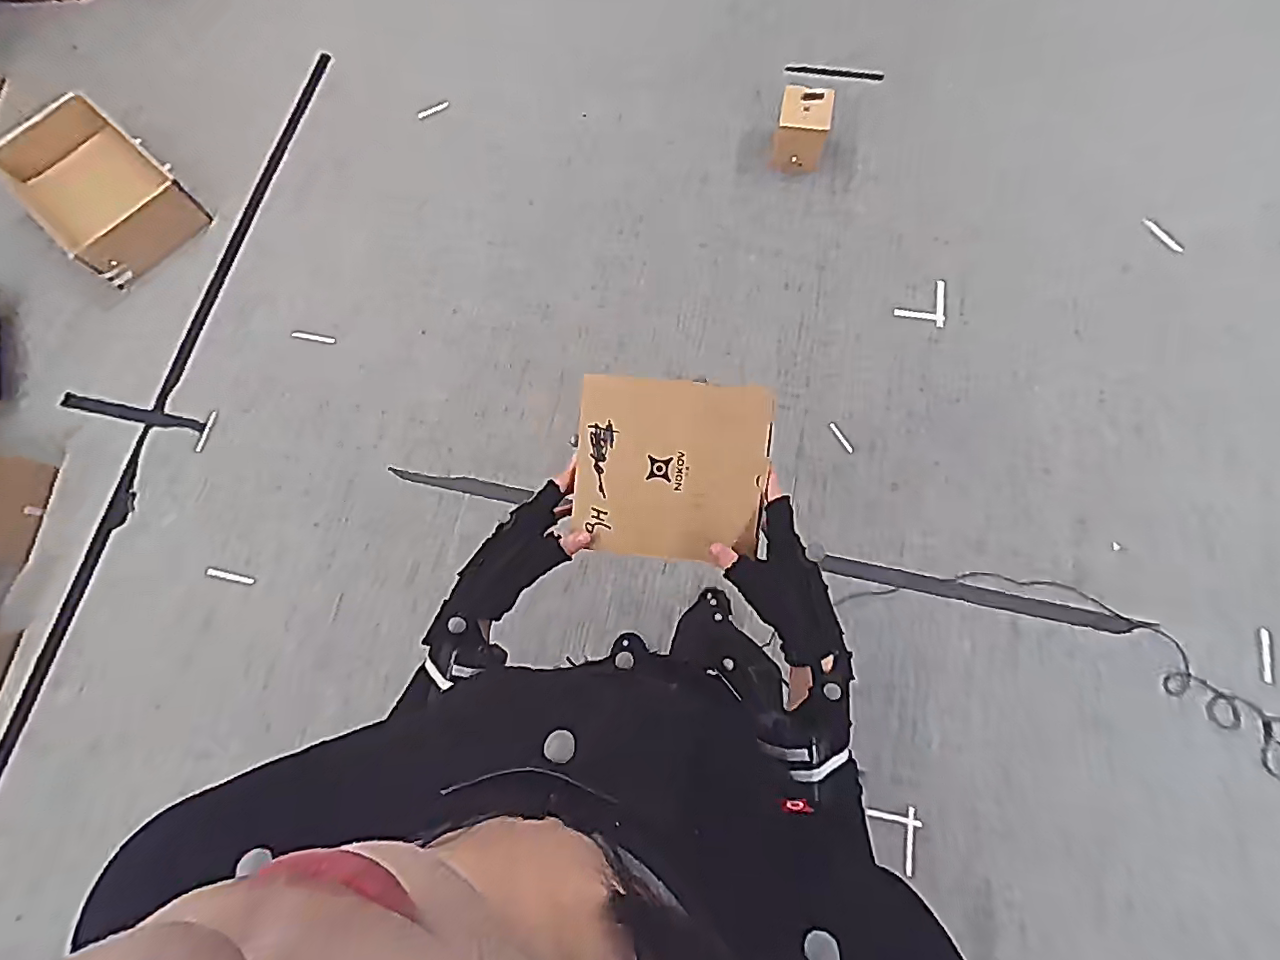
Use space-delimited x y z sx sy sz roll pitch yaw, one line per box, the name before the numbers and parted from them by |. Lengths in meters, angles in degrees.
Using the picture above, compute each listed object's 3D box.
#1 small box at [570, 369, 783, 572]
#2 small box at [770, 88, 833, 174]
small box | 0.039 -0.013 0.564 0.179 0.176 0.168 8 93 7
small box | 0.554 -1.202 1.867 0.168 0.176 0.179 10 76 5
